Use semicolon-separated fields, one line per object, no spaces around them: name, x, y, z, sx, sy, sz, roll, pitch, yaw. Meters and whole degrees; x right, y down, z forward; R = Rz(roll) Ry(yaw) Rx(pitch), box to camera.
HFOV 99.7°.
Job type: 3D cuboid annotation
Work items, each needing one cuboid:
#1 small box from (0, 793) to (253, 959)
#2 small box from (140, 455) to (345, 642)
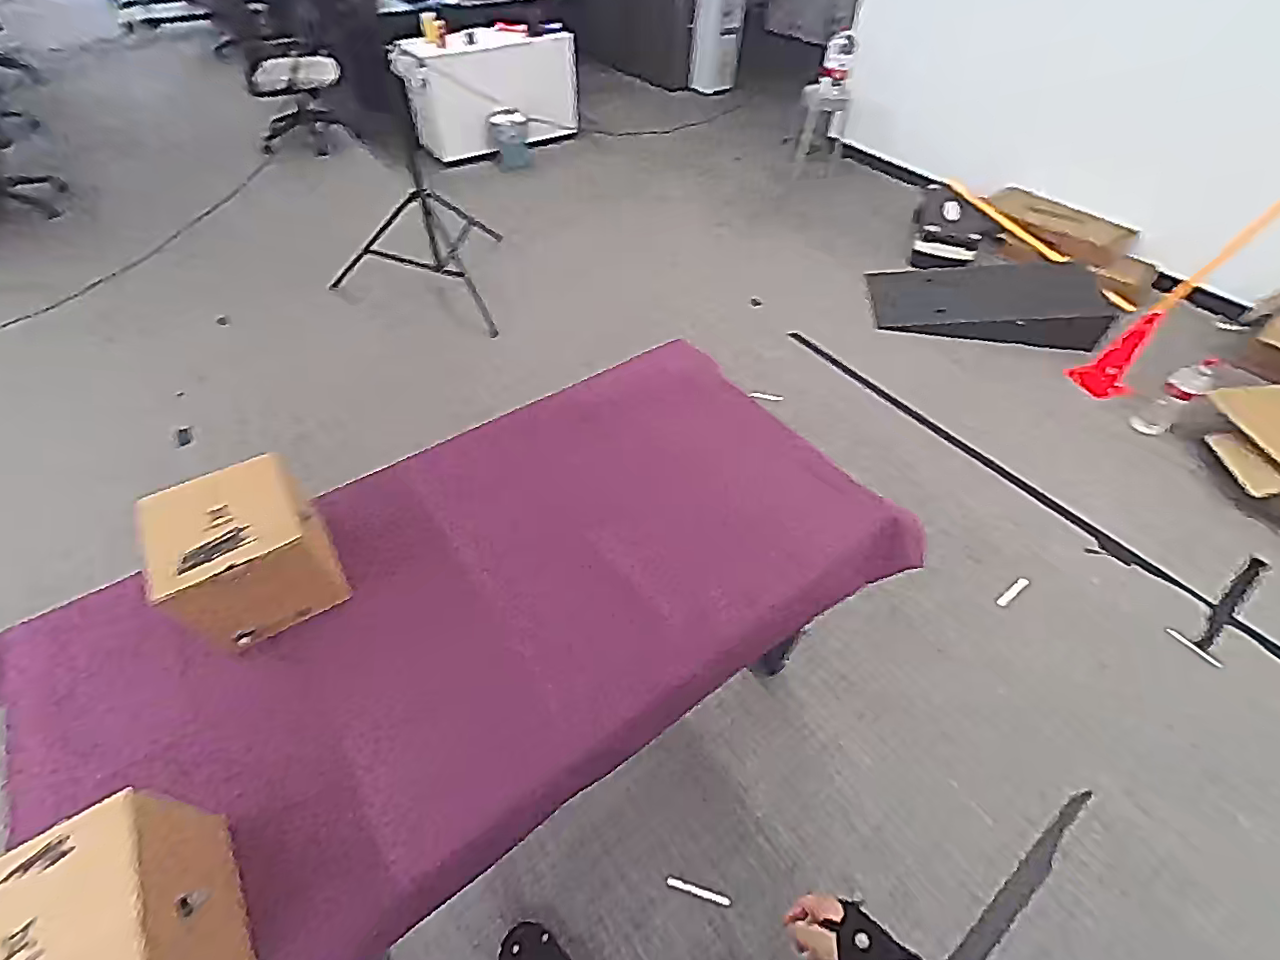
small box;-0.493;0.429;0.493;0.168;0.176;0.179;-27;57;-23
small box;-0.546;0.104;0.760;0.168;0.176;0.179;-27;57;-23
